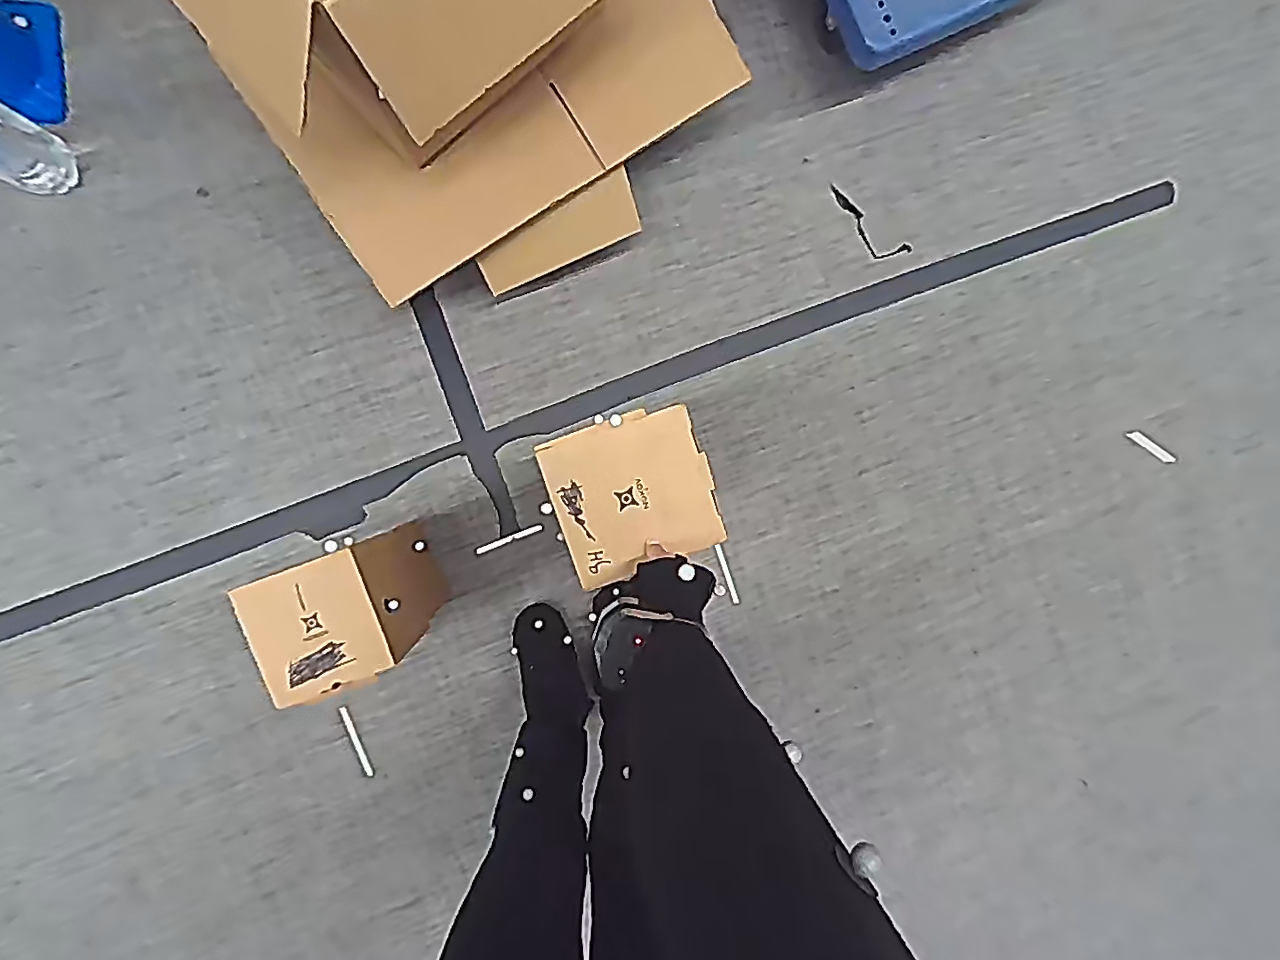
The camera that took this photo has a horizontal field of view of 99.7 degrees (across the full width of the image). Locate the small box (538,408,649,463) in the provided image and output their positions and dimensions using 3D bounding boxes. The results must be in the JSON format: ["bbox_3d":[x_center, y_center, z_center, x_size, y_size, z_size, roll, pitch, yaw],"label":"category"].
[{"bbox_3d":[-0.051,0.003,0.833,0.168,0.176,0.179,-21,96,-7],"label":"small box"}]

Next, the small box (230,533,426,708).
[{"bbox_3d":[-0.439,0.194,0.796,0.168,0.176,0.179,-20,94,-5],"label":"small box"}]

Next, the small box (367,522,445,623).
[{"bbox_3d":[-0.464,0.186,0.959,0.179,0.176,0.168,-23,95,-4],"label":"small box"}]

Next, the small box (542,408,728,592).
[{"bbox_3d":[-0.016,0.015,0.674,0.179,0.176,0.168,-19,96,-8],"label":"small box"}]
